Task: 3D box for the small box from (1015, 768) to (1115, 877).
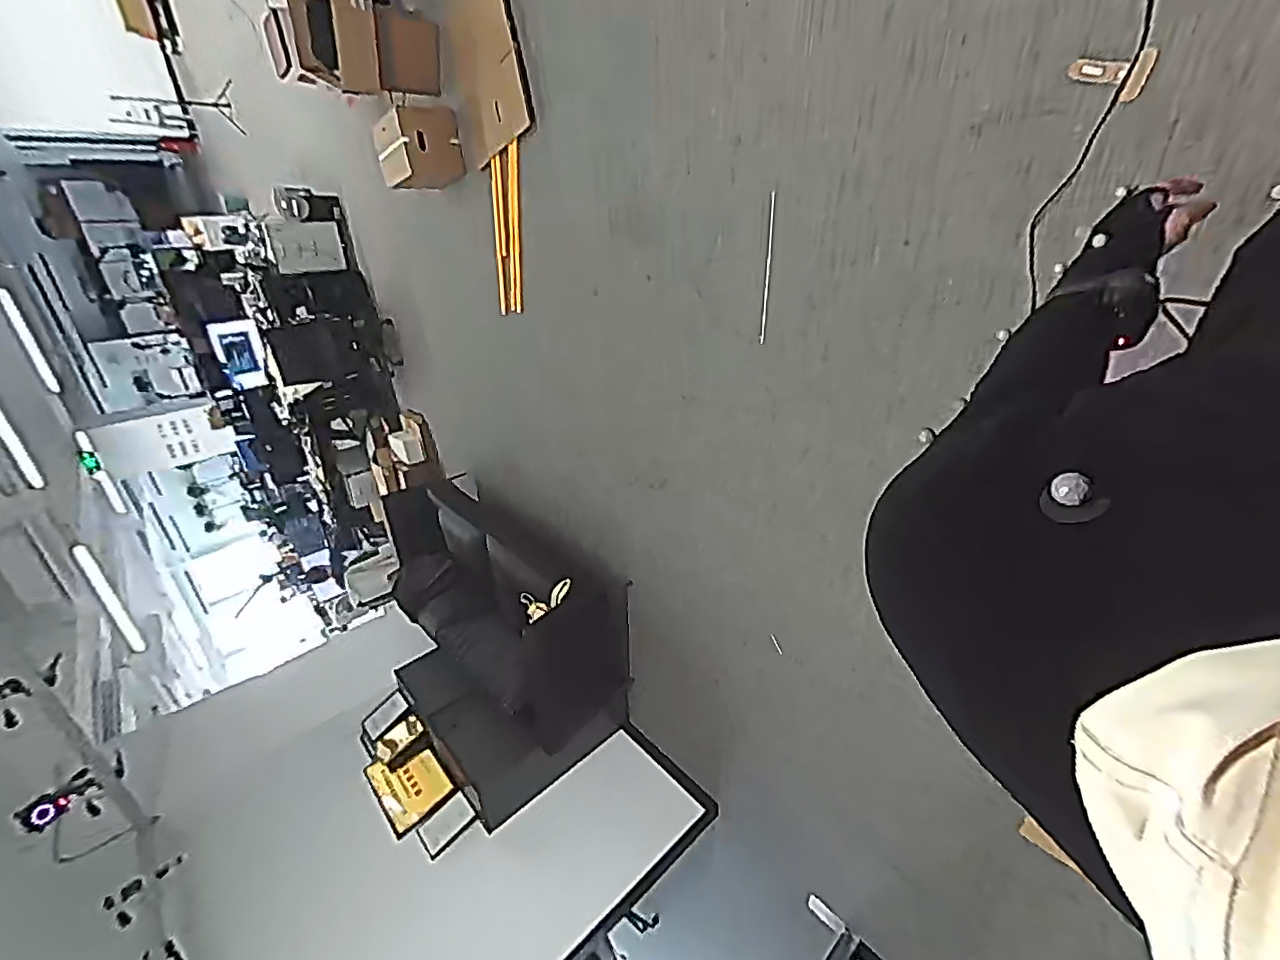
[{"bbox_3d":[1.255,1.000,1.593,0.179,0.176,0.168,26,128,41],"label":"small box"}]
